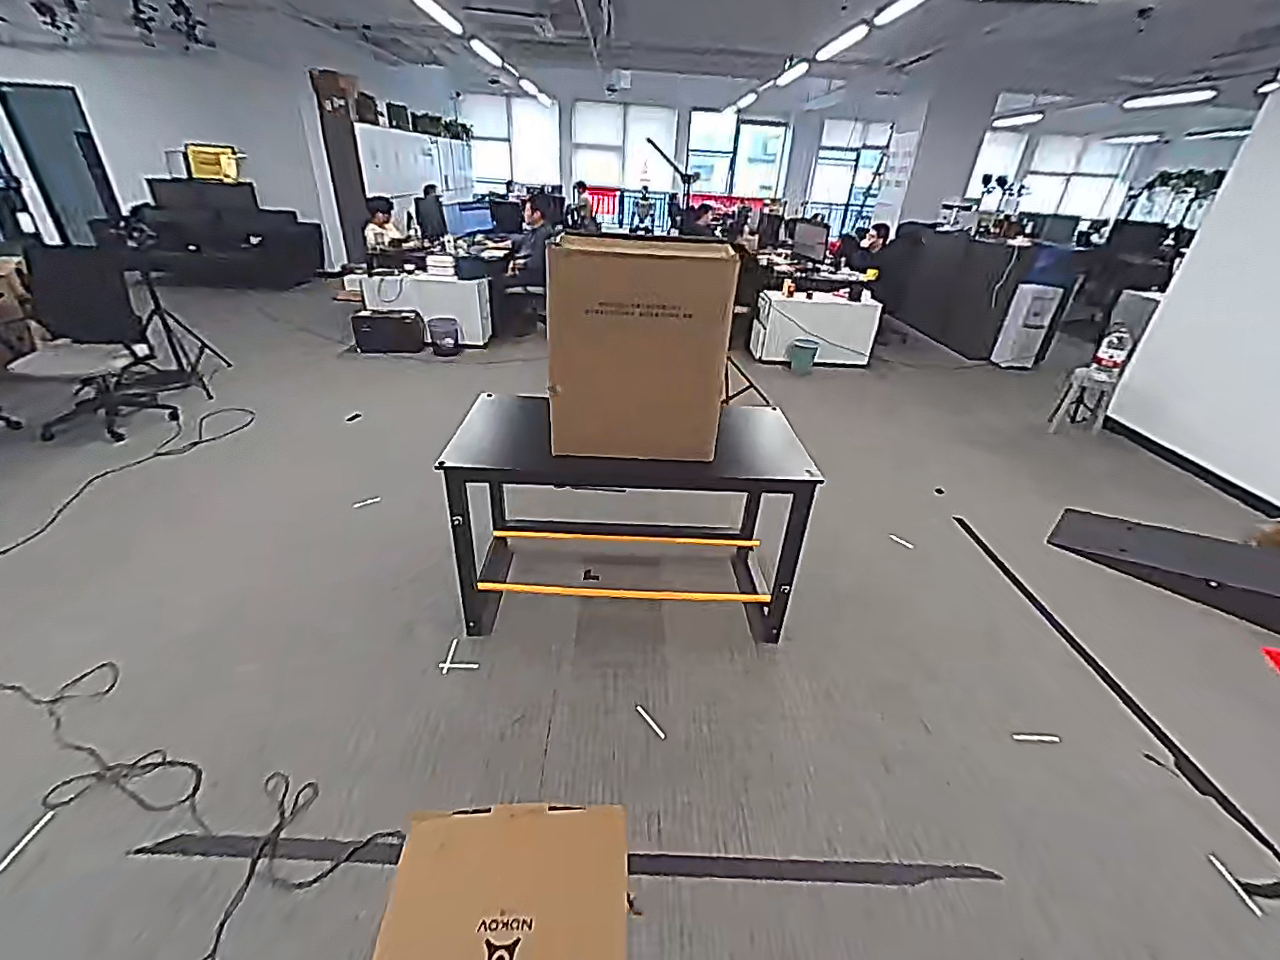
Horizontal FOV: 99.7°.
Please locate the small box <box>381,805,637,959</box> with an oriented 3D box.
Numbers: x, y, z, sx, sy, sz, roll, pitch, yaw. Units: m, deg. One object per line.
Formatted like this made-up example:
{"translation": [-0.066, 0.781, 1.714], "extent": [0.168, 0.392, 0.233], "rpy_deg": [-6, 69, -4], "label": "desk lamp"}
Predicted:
{"translation": [-0.085, 0.370, 0.395], "extent": [0.168, 0.176, 0.179], "rpy_deg": [-2, 36, -2], "label": "small box"}
